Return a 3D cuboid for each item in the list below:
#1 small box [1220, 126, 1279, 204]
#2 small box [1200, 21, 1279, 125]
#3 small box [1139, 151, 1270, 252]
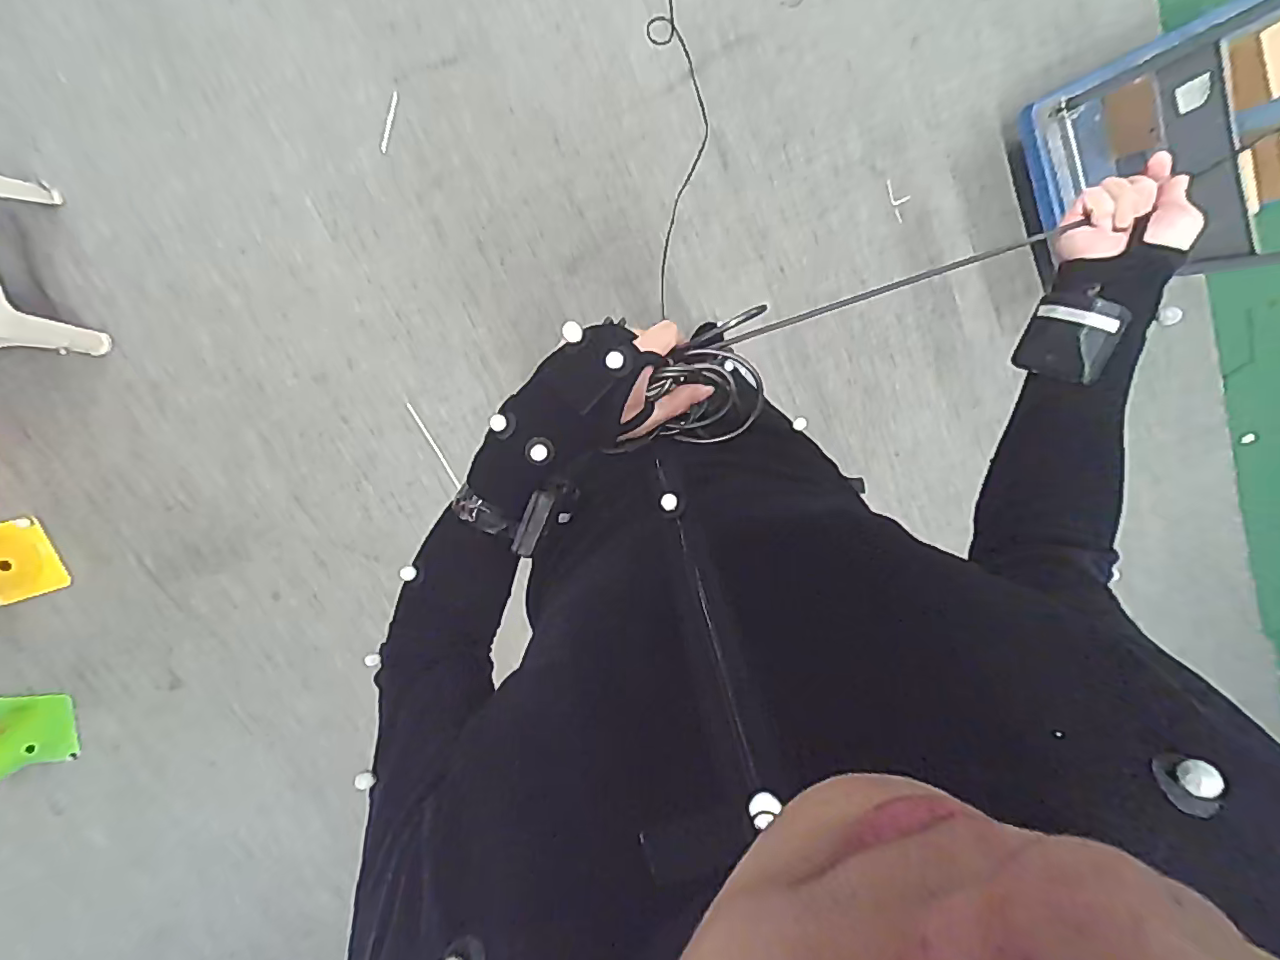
[{"bbox_3d":[1.755,-0.868,1.471,0.179,0.176,0.168,-31,103,-1],"label":"small box"},{"bbox_3d":[1.628,-1.077,1.412,0.179,0.176,0.168,-31,104,-2],"label":"small box"},{"bbox_3d":[1.516,-0.743,1.458,0.179,0.176,0.168,-27,104,-2],"label":"small box"}]
